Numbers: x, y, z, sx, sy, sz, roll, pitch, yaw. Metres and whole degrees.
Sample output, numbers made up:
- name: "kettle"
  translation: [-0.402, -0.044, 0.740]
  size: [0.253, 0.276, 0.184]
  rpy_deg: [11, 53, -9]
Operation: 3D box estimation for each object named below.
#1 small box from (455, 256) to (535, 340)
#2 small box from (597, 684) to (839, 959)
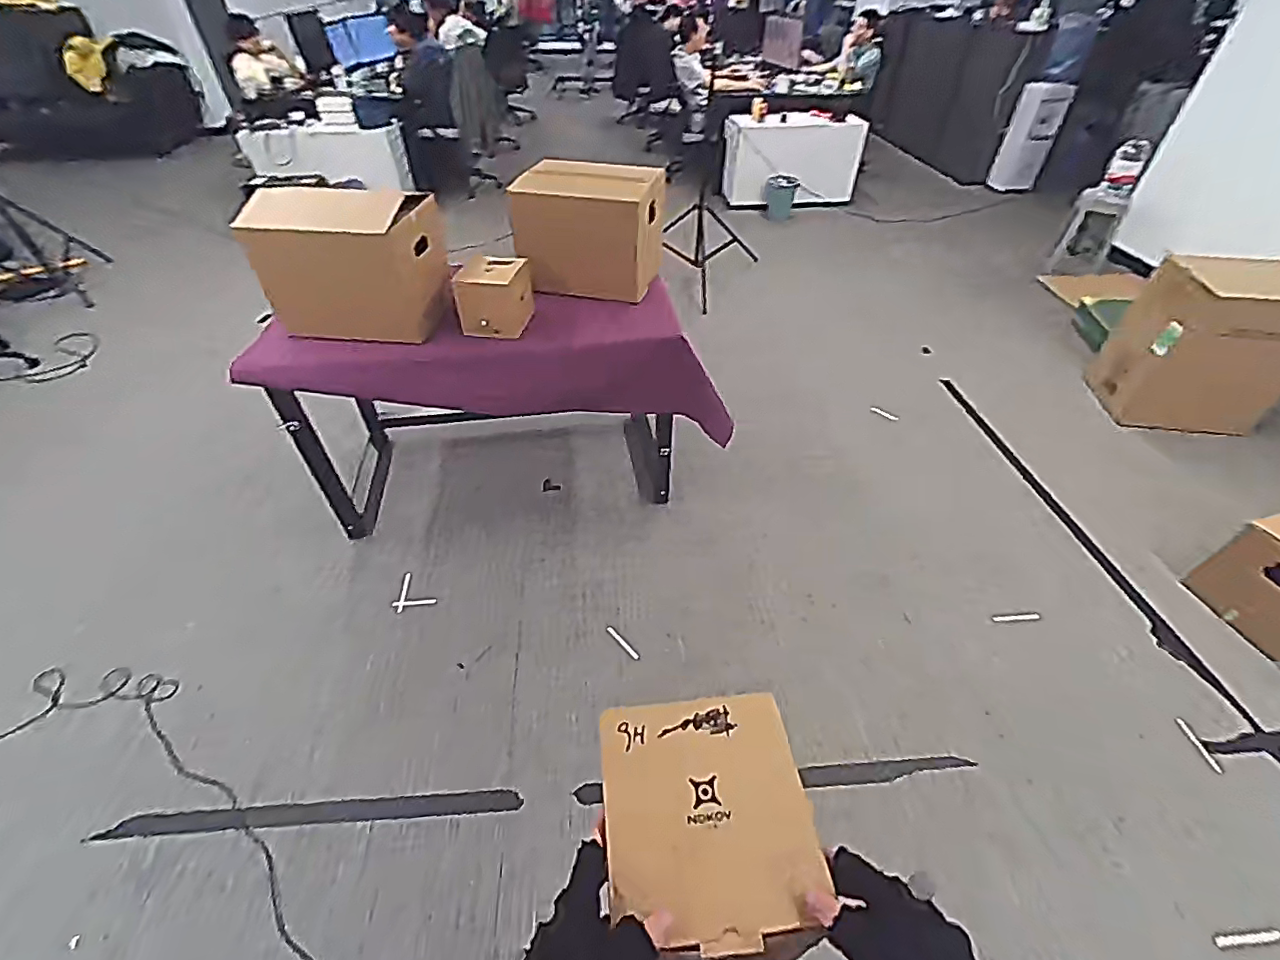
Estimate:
- name: "small box"
  translation: [-0.412, -0.529, 1.572]
  size: [0.168, 0.176, 0.179]
  rpy_deg: [6, 45, 6]
- name: "small box"
  translation: [0.052, 0.312, 0.486]
  size: [0.168, 0.176, 0.179]
  rpy_deg: [-4, 43, -6]
